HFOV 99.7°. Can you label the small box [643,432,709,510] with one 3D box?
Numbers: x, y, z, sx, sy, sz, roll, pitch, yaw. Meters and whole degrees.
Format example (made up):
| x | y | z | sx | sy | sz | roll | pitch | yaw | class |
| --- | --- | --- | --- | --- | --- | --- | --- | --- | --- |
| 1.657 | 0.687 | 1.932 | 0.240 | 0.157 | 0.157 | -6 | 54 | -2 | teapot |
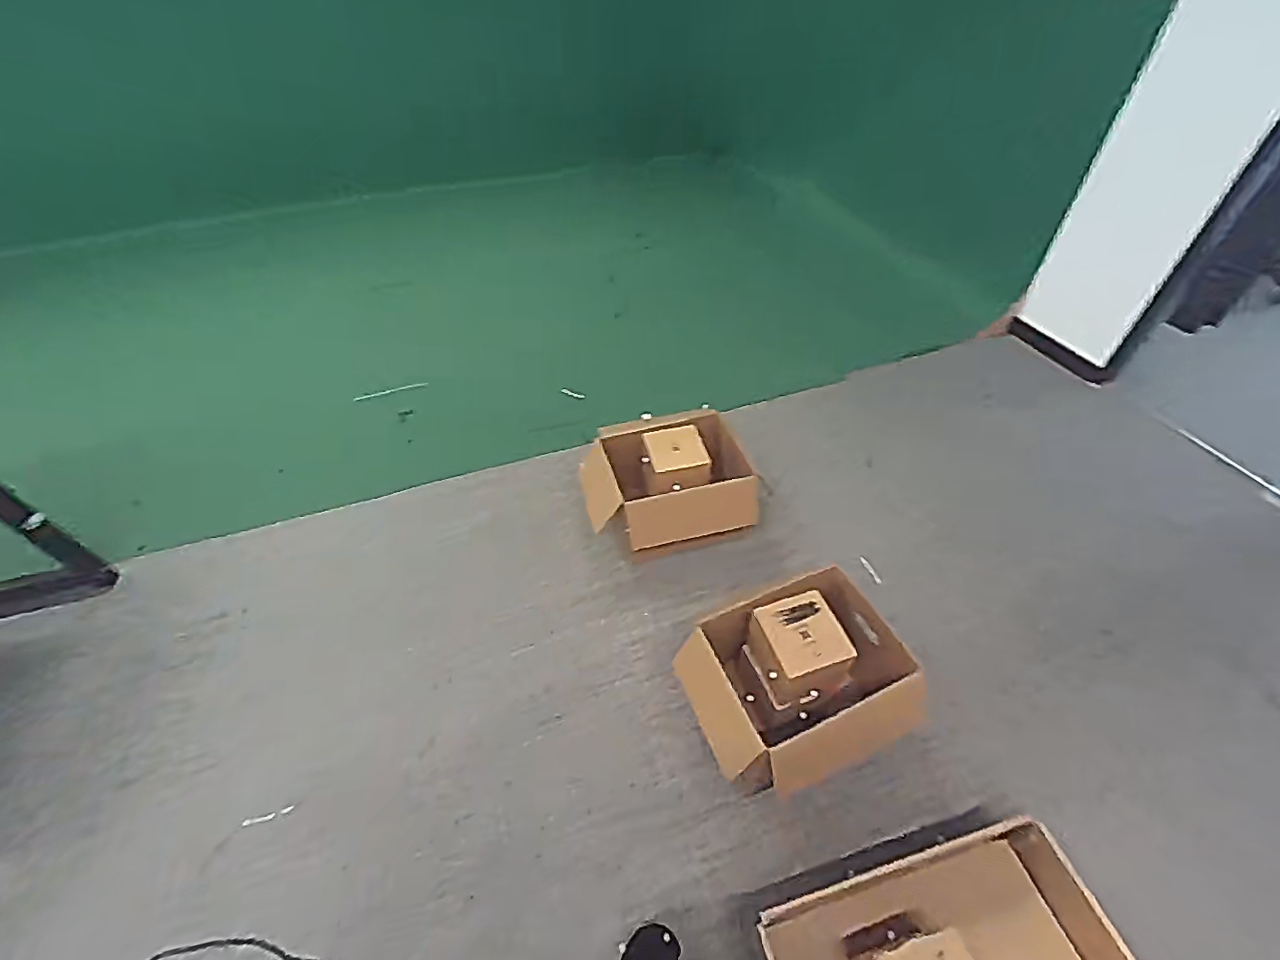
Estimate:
| x | y | z | sx | sy | sz | roll | pitch | yaw | class |
| --- | --- | --- | --- | --- | --- | --- | --- | --- | --- |
| 0.110 | -0.023 | 1.699 | 0.168 | 0.176 | 0.179 | -11 | 47 | -9 | small box |
